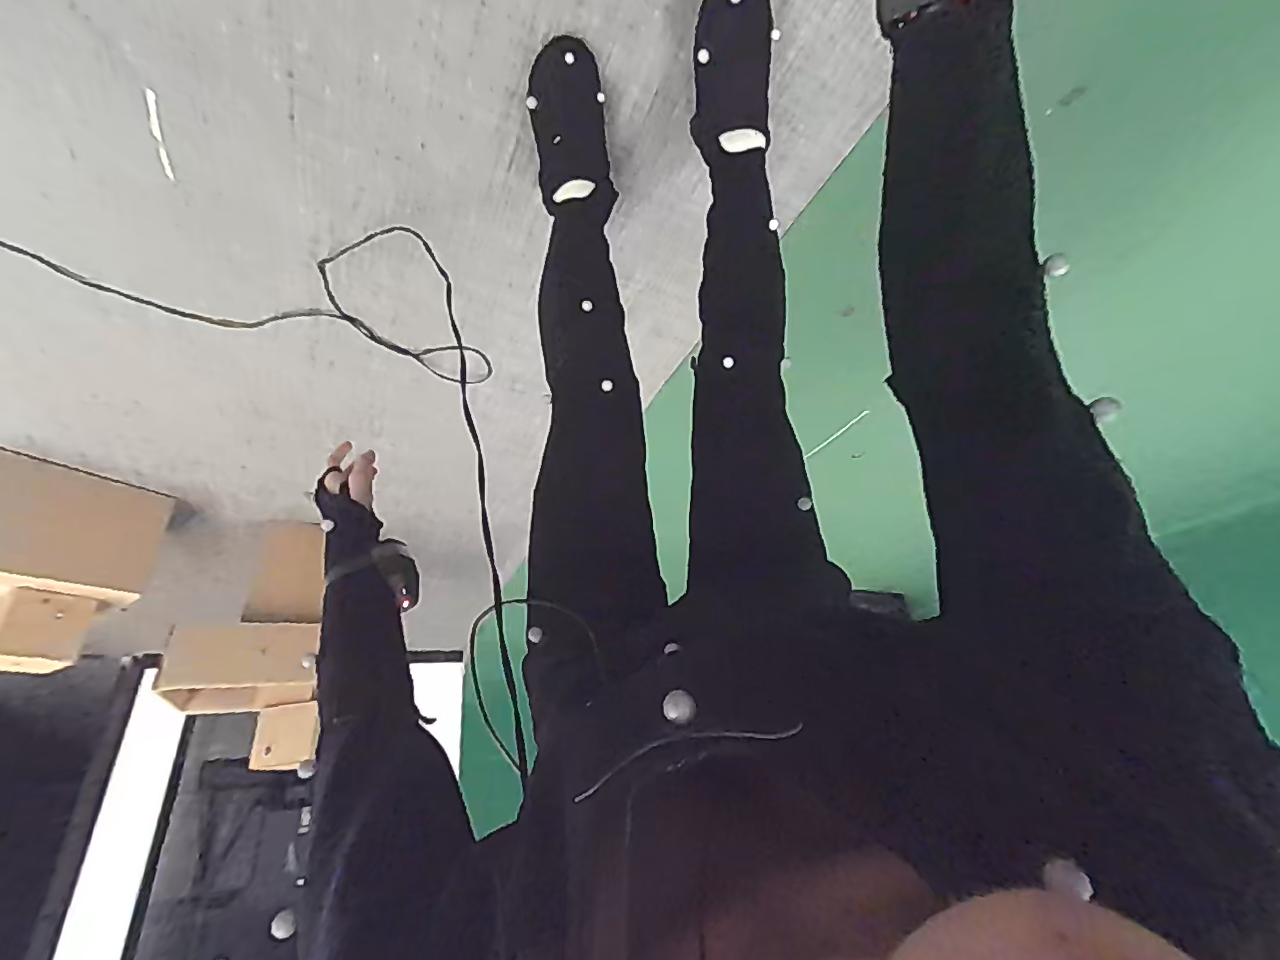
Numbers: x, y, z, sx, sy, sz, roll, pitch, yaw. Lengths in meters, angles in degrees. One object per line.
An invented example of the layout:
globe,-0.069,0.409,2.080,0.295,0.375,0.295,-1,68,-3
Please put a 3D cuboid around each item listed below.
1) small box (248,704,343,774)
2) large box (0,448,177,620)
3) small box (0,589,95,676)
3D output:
small box,-1.042,0.793,1.653,0.179,0.176,0.168,-7,151,-1
large box,-1.610,0.165,1.475,0.320,0.320,0.408,-23,145,25
small box,-1.568,0.394,1.392,0.179,0.176,0.168,-19,148,22
